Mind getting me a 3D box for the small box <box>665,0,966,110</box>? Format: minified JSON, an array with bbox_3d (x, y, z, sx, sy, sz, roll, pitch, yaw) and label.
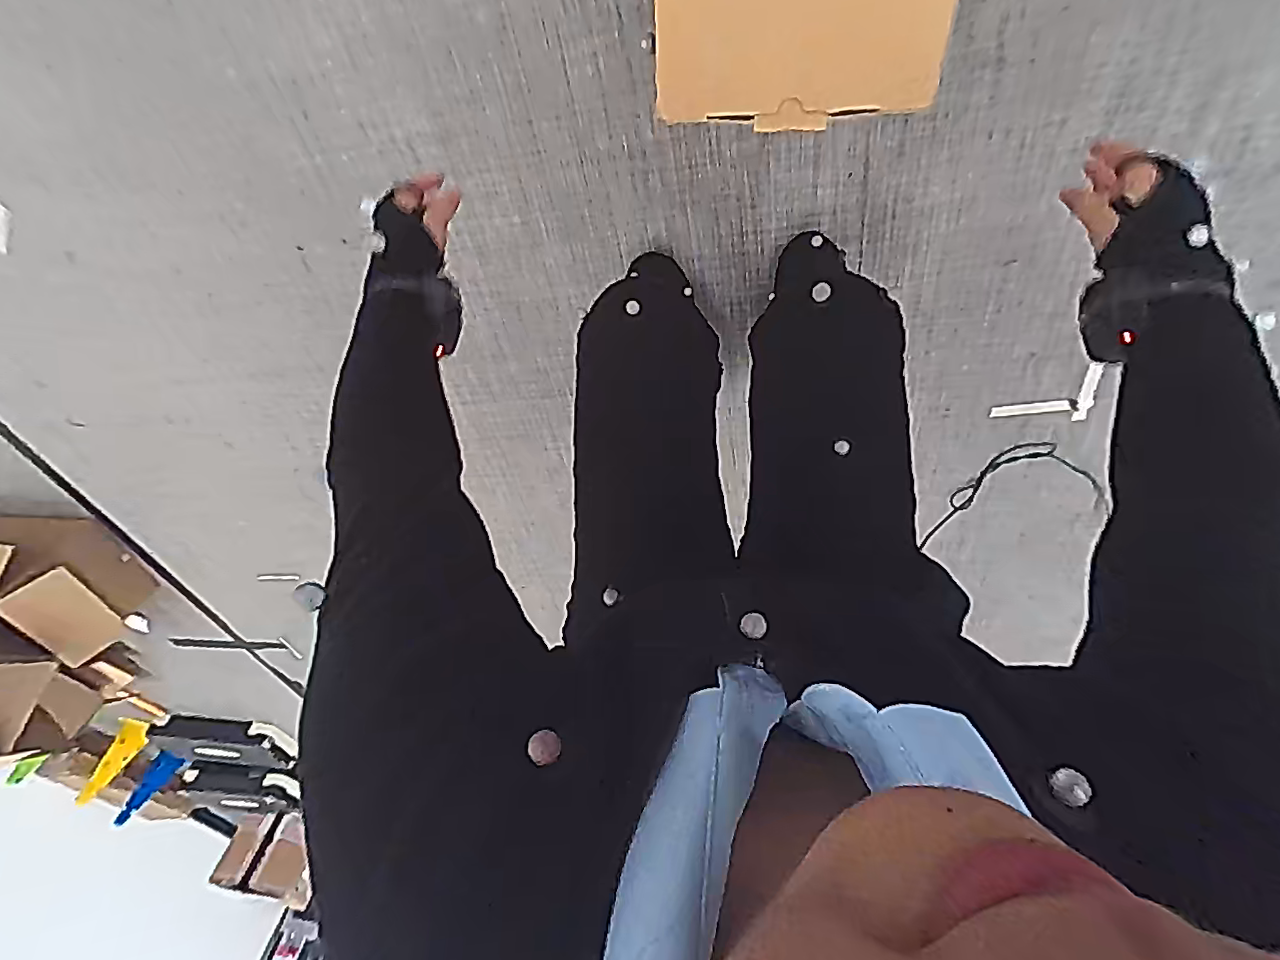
[{"bbox_3d":[0.103,-0.346,0.335,0.168,0.176,0.179,3,131,9],"label":"small box"}]
